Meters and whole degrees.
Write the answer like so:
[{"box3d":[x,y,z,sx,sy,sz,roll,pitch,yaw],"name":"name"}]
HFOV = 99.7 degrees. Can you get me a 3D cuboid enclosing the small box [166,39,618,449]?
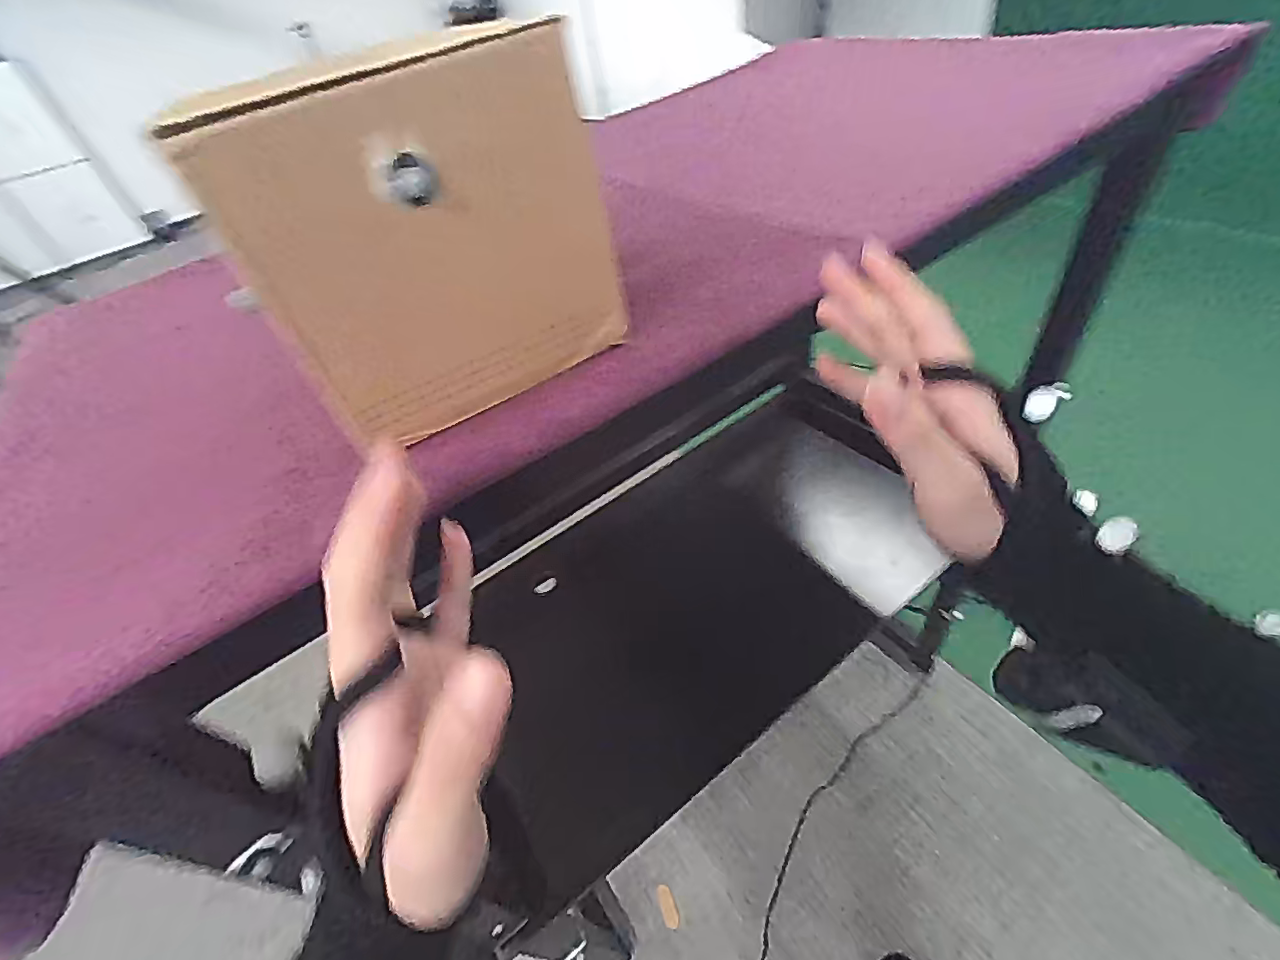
[{"box3d":[-0.136,-0.147,0.341,0.179,0.176,0.168,-29,45,-16],"name":"small box"}]
